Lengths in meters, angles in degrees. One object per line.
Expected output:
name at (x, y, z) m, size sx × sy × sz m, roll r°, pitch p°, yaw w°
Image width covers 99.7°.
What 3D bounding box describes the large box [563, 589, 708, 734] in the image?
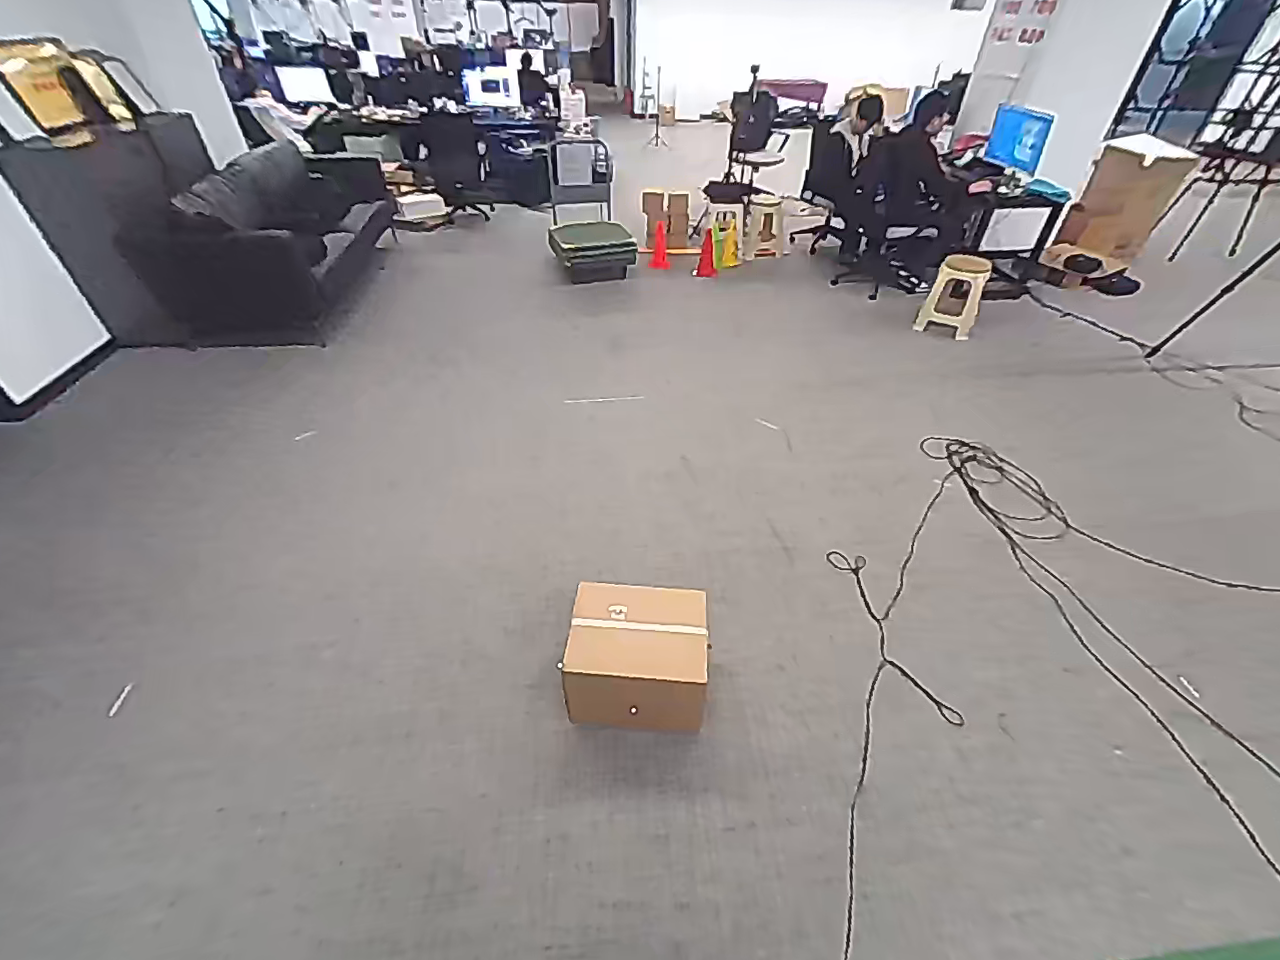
large box at (0.000, 0.564, 1.681) m, size 0.408 × 0.320 × 0.320 m, roll 3°, pitch 40°, yaw 4°
